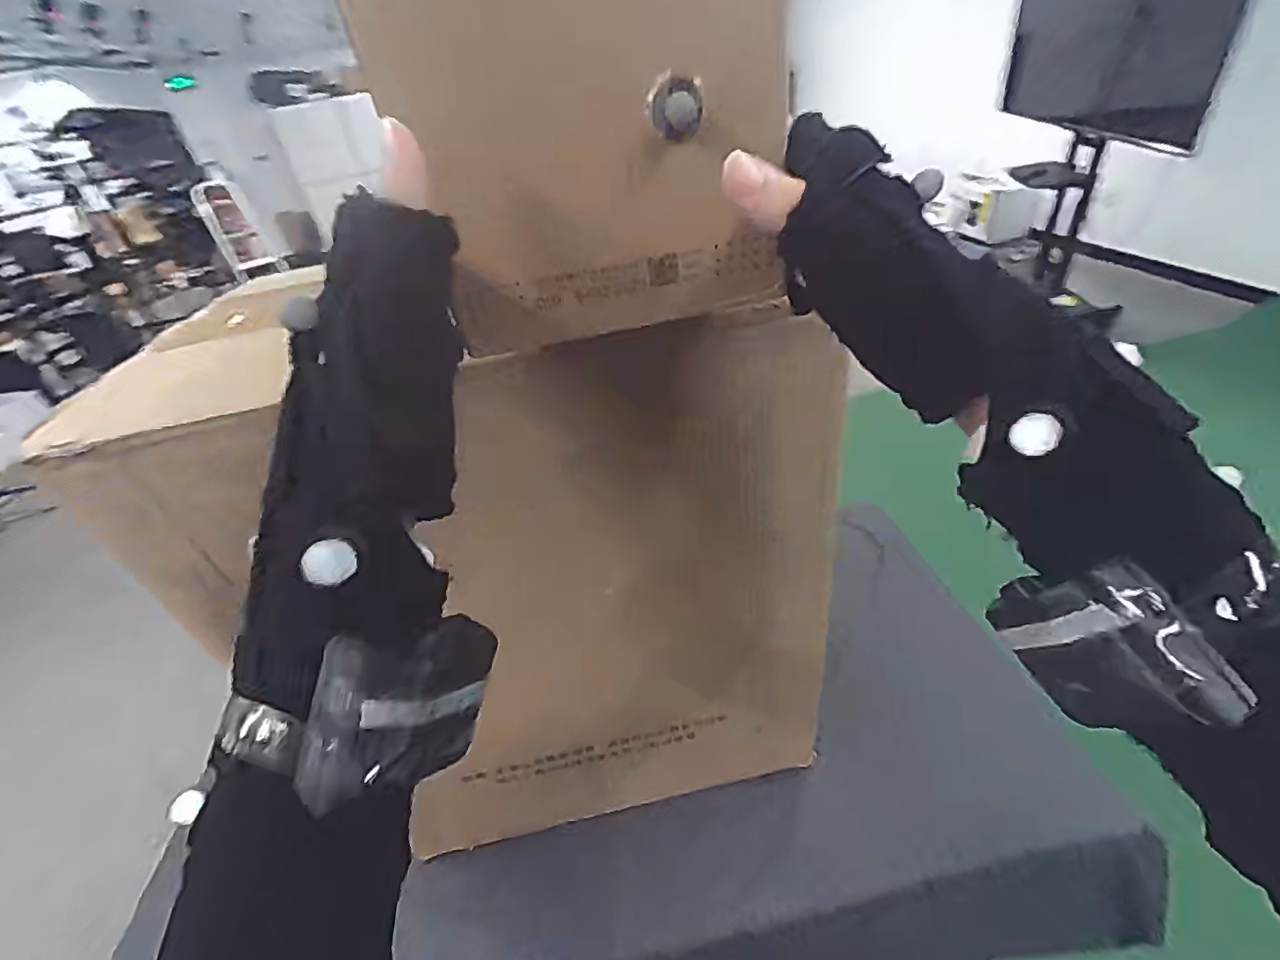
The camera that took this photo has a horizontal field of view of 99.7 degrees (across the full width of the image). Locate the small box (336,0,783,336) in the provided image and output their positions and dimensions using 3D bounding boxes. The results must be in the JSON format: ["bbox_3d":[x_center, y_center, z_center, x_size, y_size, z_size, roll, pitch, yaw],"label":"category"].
[{"bbox_3d":[-0.023,-0.186,0.290,0.168,0.176,0.179,-8,37,1],"label":"small box"}]
